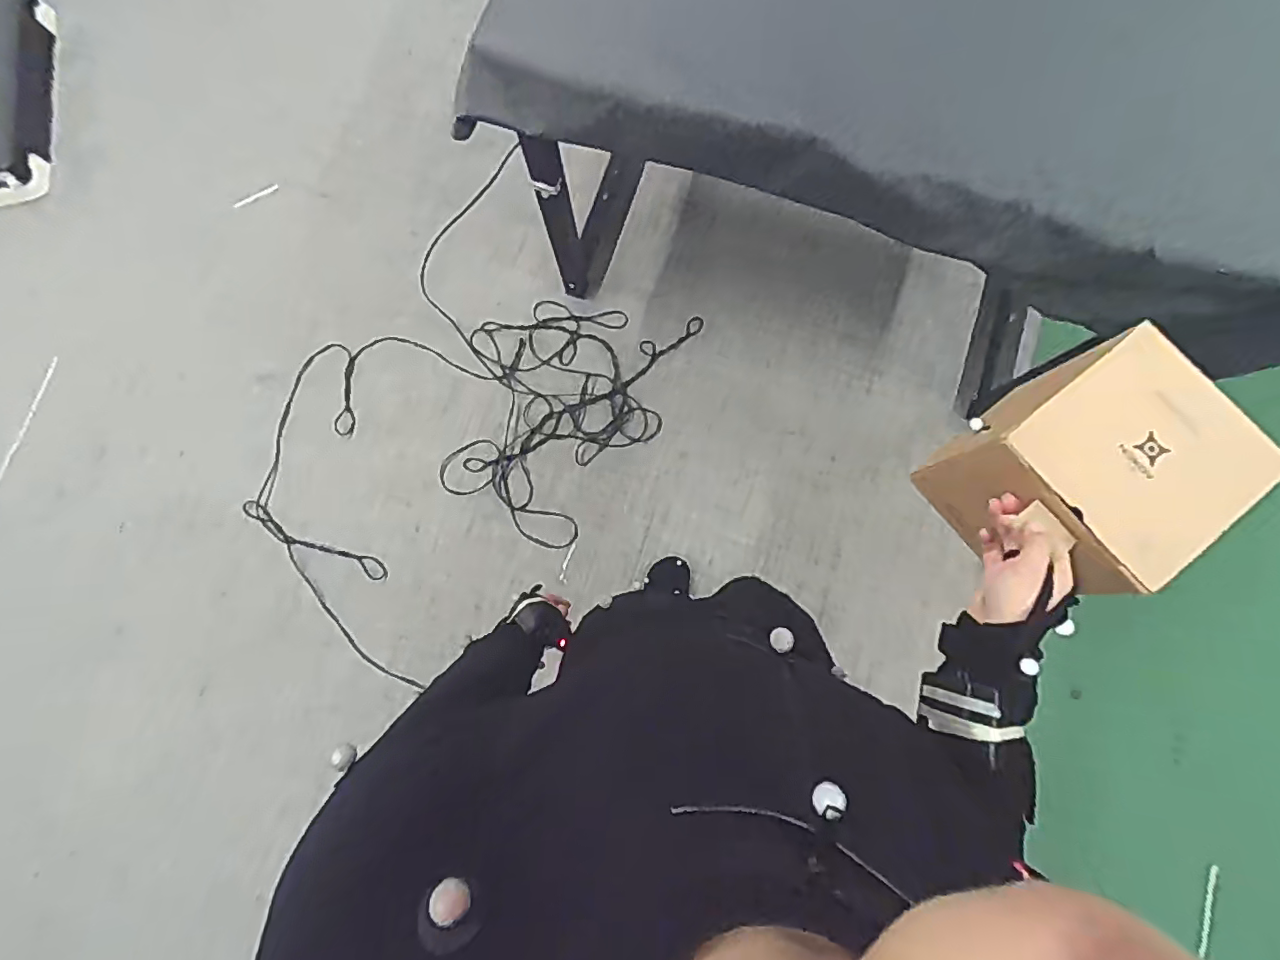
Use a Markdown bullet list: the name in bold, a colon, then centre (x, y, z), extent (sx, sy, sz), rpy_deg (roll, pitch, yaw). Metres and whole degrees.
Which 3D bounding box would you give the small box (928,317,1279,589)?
- **small box**: centre (0.415, -0.011, 0.518), extent (0.179, 0.176, 0.168), rpy_deg (-38, 81, -7)
